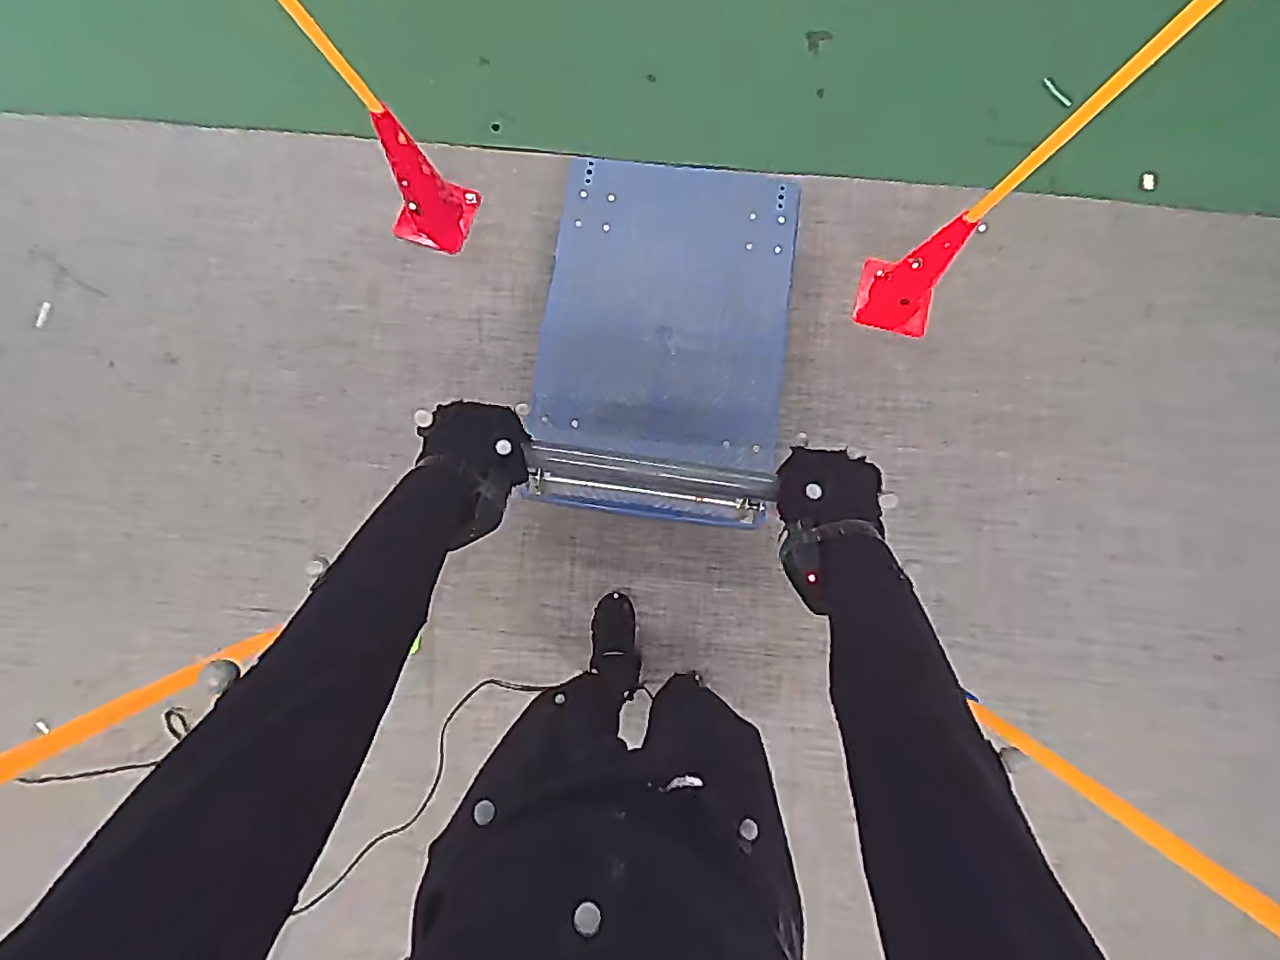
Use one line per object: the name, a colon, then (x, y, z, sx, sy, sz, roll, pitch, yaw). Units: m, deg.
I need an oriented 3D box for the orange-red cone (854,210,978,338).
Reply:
orange-red cone: (0.700, -0.526, 1.318, 0.198, 0.360, 0.199, 16, 82, 3)
